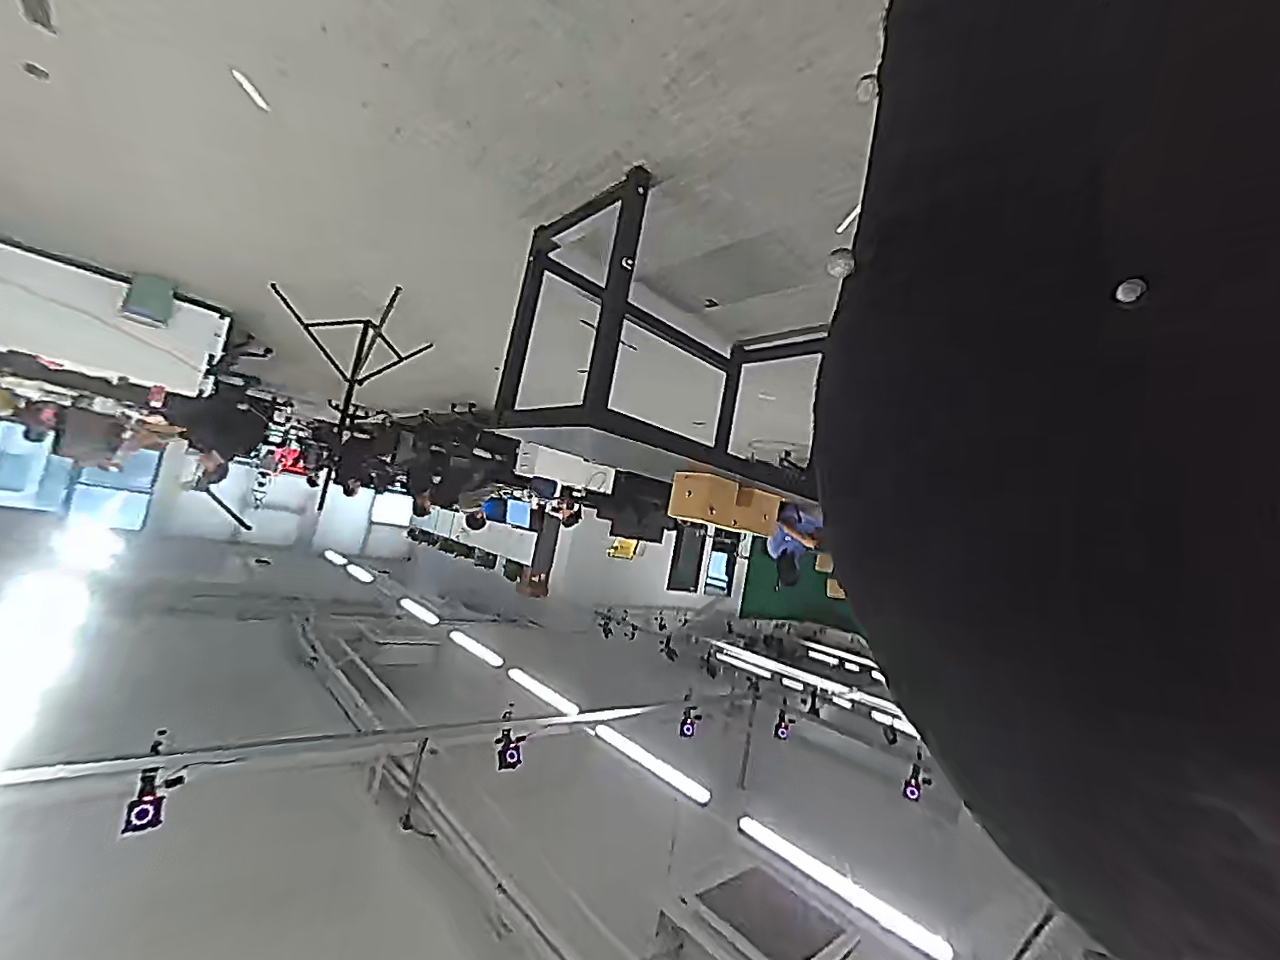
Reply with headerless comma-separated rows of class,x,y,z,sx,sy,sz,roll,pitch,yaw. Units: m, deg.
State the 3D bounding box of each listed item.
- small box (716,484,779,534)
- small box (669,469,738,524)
small box,0.431,0.111,2.144,0.179,0.176,0.168,14,174,-39
small box,0.233,0.059,1.964,0.179,0.176,0.168,15,174,-43
